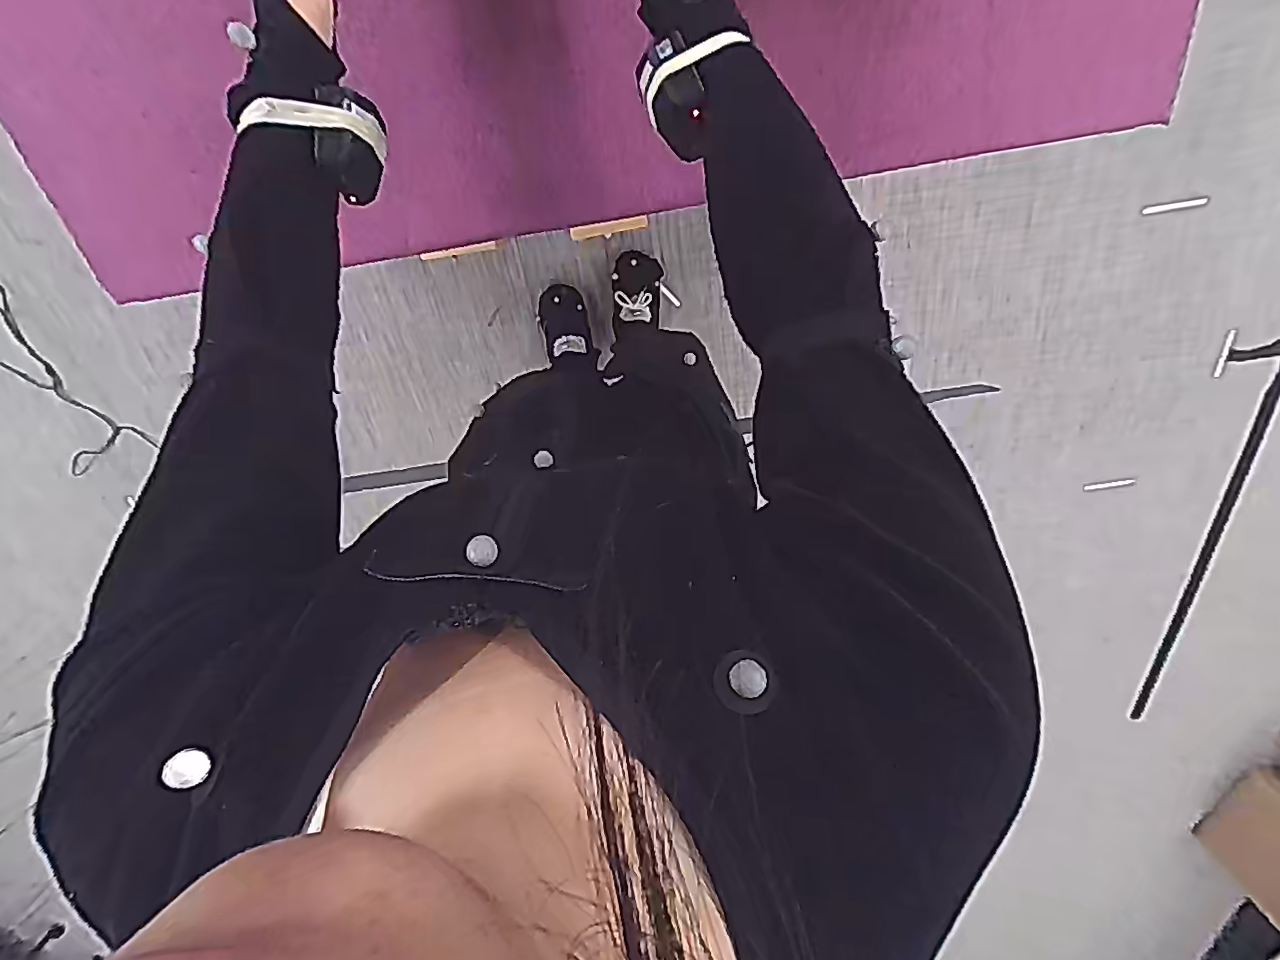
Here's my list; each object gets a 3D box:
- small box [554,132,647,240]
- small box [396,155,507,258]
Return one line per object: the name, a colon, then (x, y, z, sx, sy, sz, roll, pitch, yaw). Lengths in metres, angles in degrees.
small box: (-0.083, -0.629, 1.164, 0.168, 0.176, 0.179, -9, 119, 2)
small box: (-0.397, -0.586, 1.168, 0.168, 0.176, 0.179, -7, 117, 0)
